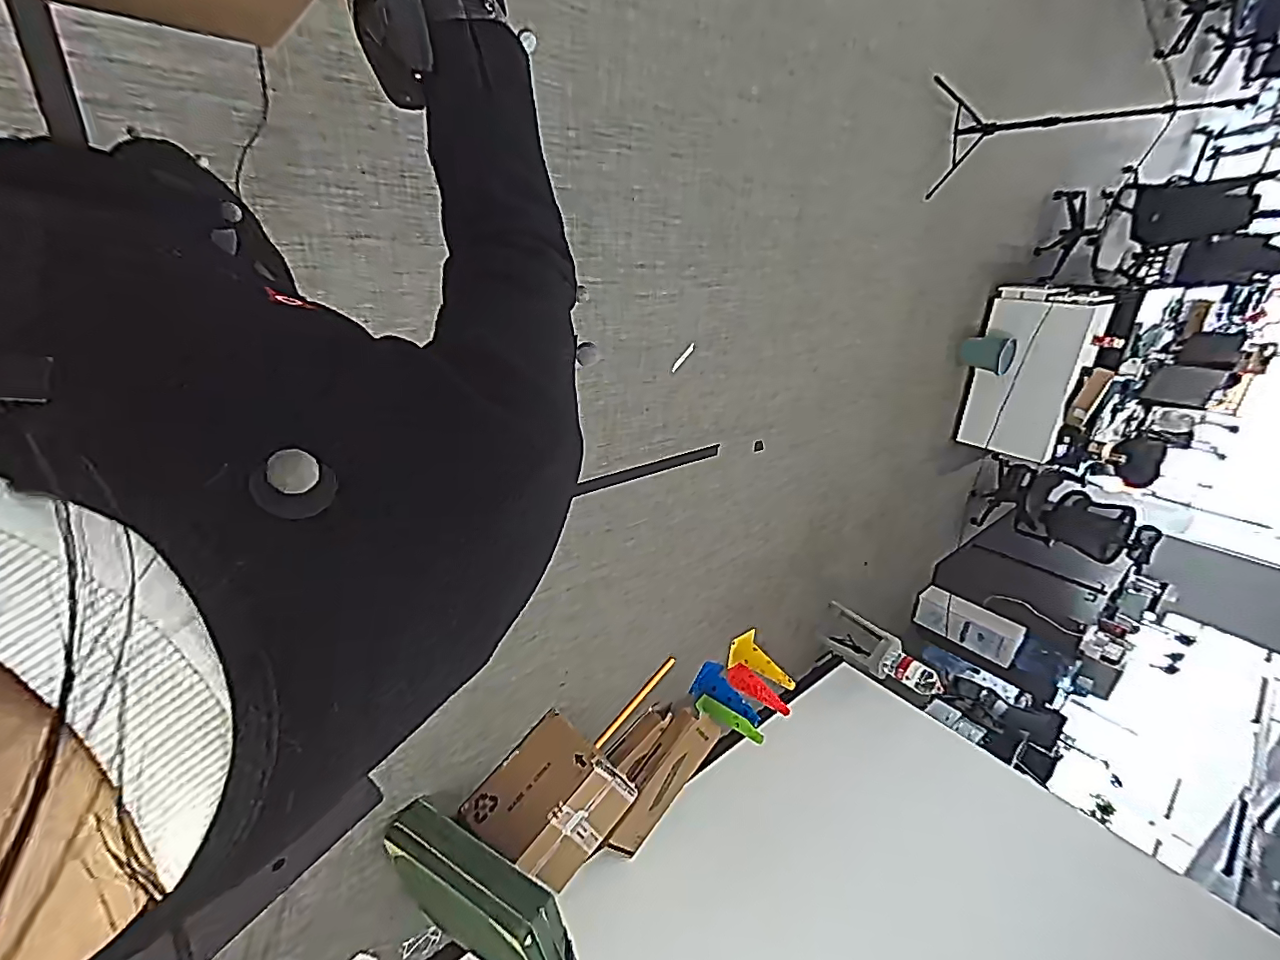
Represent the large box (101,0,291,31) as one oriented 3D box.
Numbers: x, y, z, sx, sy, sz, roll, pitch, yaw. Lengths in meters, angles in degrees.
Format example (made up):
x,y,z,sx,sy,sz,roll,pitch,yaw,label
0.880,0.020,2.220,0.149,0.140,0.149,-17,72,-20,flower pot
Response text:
x,y,z,sx,sy,sz,roll,pitch,yaw,label
-0.402,-0.454,0.229,0.408,0.320,0.320,-17,124,-36,large box
